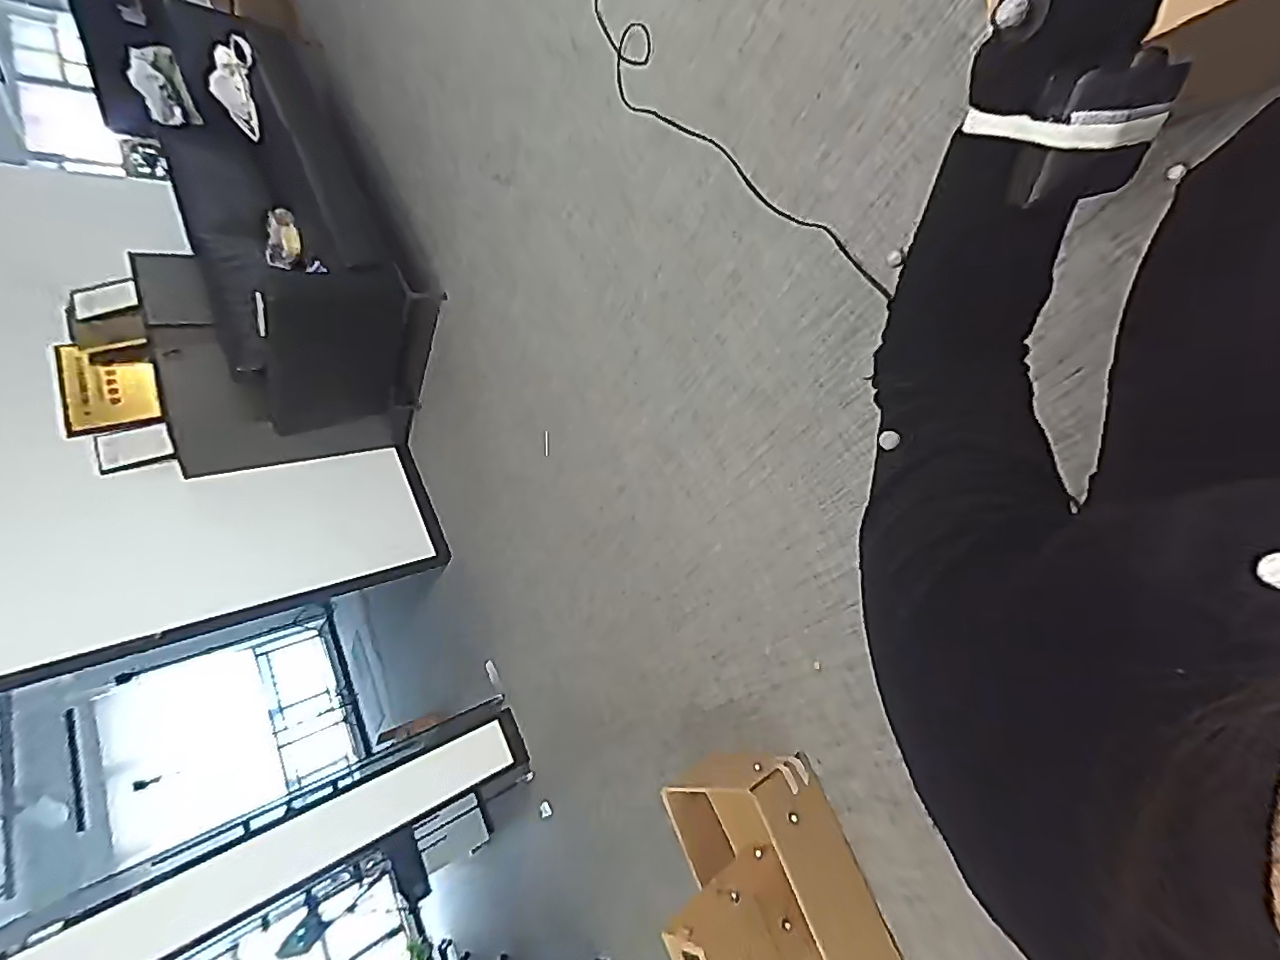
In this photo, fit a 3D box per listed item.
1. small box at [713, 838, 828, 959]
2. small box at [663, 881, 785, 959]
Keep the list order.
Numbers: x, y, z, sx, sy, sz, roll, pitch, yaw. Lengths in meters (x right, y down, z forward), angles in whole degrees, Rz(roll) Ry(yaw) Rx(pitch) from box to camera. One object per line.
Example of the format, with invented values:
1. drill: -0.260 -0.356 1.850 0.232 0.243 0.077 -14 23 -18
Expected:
1. small box: 0.314 1.001 1.293 0.168 0.176 0.179 -41 68 49
2. small box: 0.189 1.033 1.192 0.168 0.176 0.179 -40 71 50
